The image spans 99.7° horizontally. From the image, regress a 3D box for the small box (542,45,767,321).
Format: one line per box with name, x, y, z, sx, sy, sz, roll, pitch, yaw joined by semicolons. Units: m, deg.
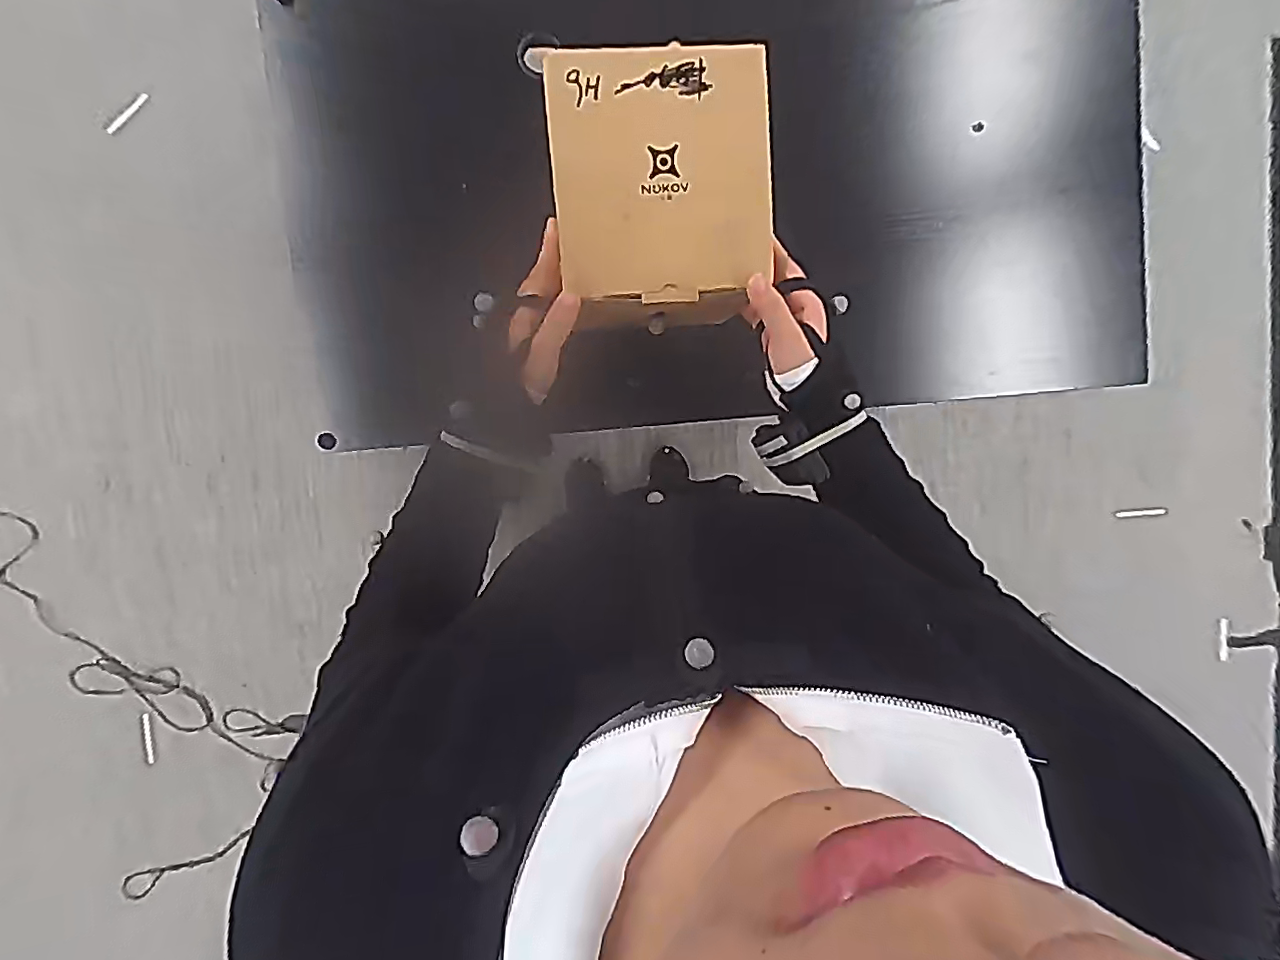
small box;0.010;-0.242;0.486;0.168;0.176;0.179;-5;99;-4
